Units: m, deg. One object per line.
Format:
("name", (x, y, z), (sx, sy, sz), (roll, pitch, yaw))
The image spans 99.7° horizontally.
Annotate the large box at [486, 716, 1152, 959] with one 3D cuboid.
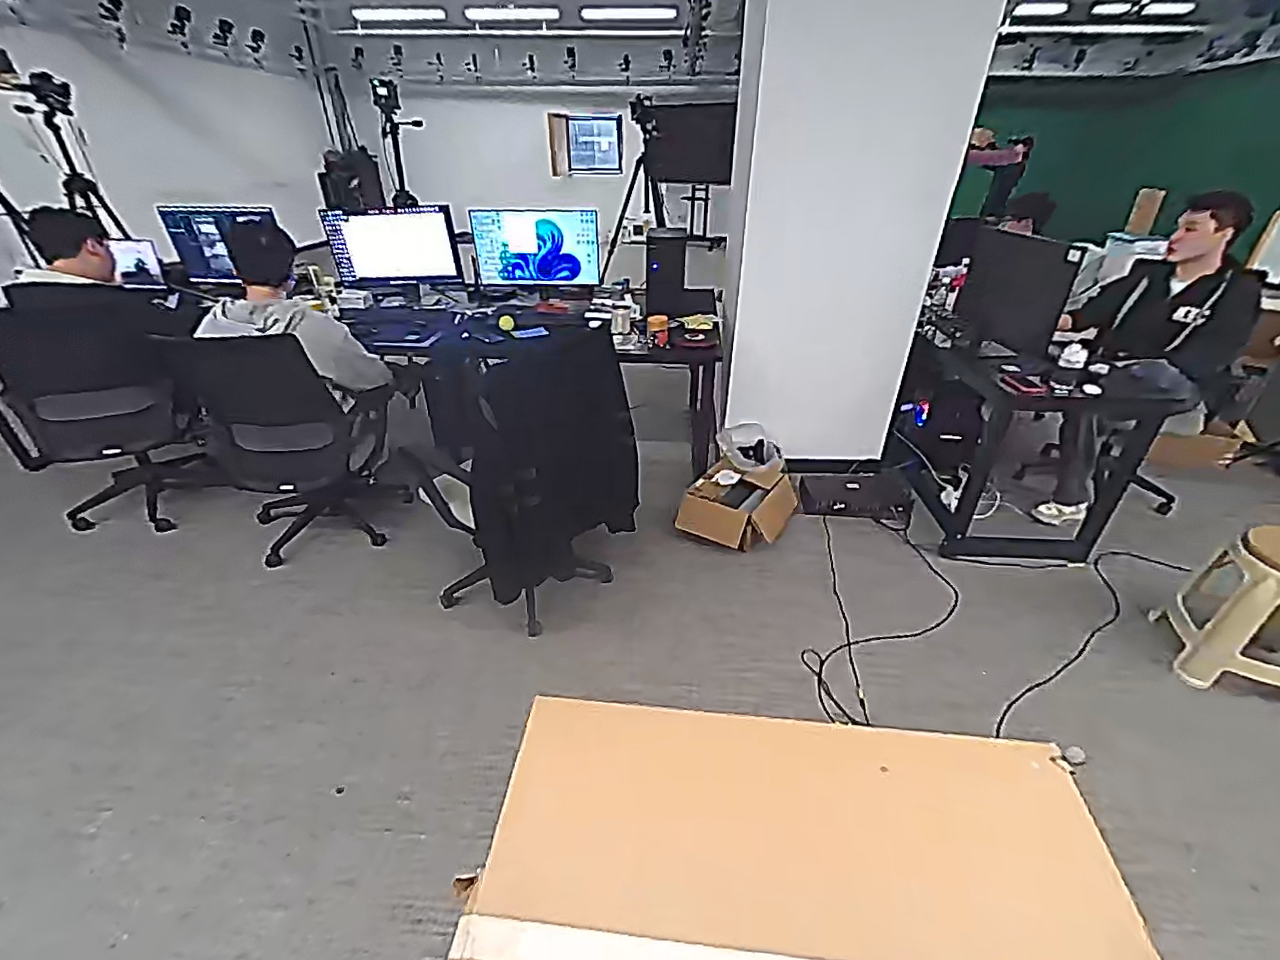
("large box", (0.103, 0.414, 0.405), (0.408, 0.320, 0.320), (3, 40, 5))
